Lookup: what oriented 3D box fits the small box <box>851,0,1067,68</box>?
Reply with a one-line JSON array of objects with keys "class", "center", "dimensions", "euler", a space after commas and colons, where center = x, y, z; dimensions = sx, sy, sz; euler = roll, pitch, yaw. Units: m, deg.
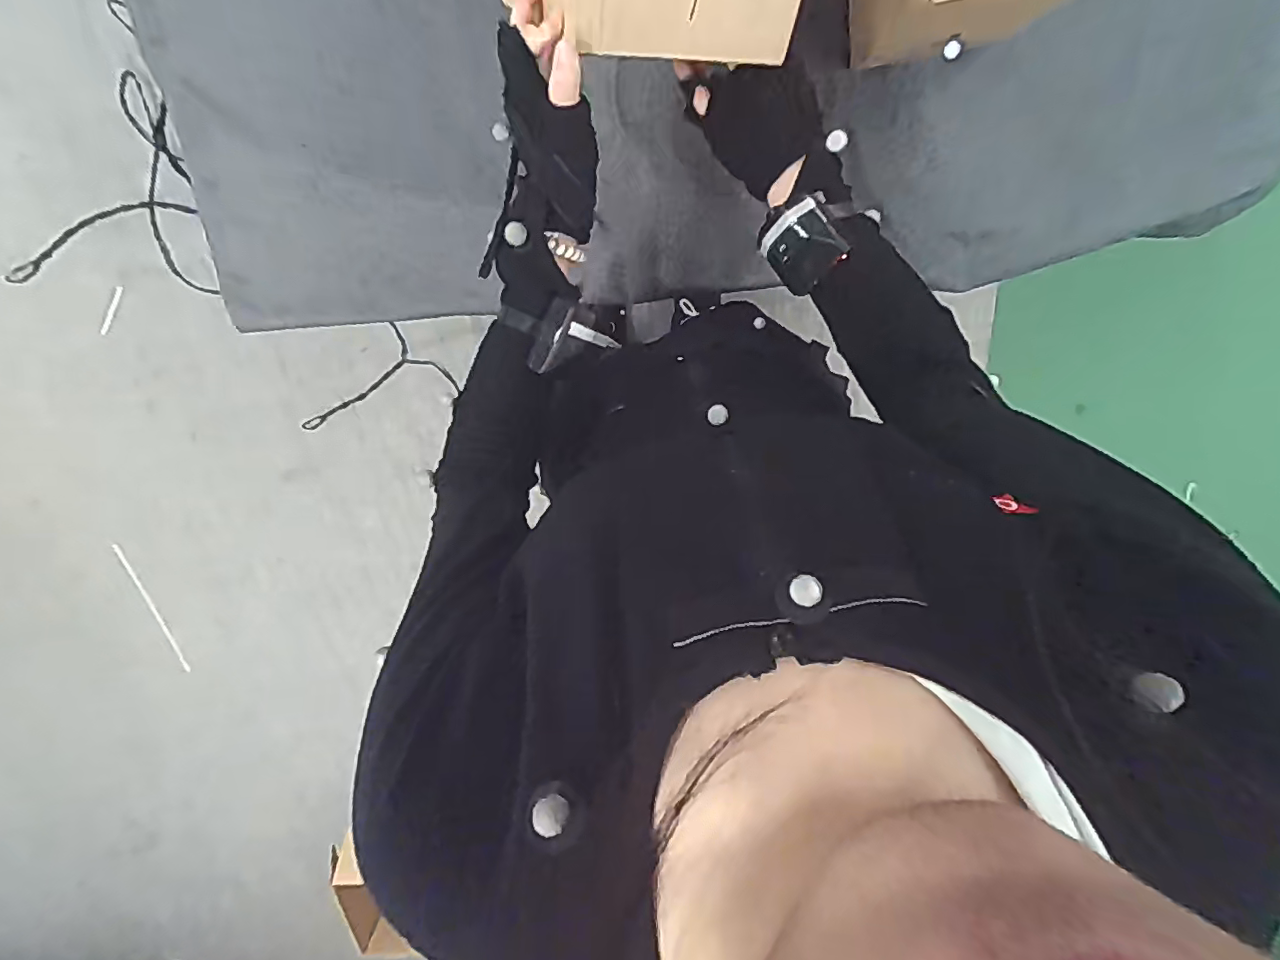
[{"class": "small box", "center": [0.296, -0.507, 0.477], "dimensions": [0.168, 0.176, 0.179], "euler": [-9, 112, 3]}]
